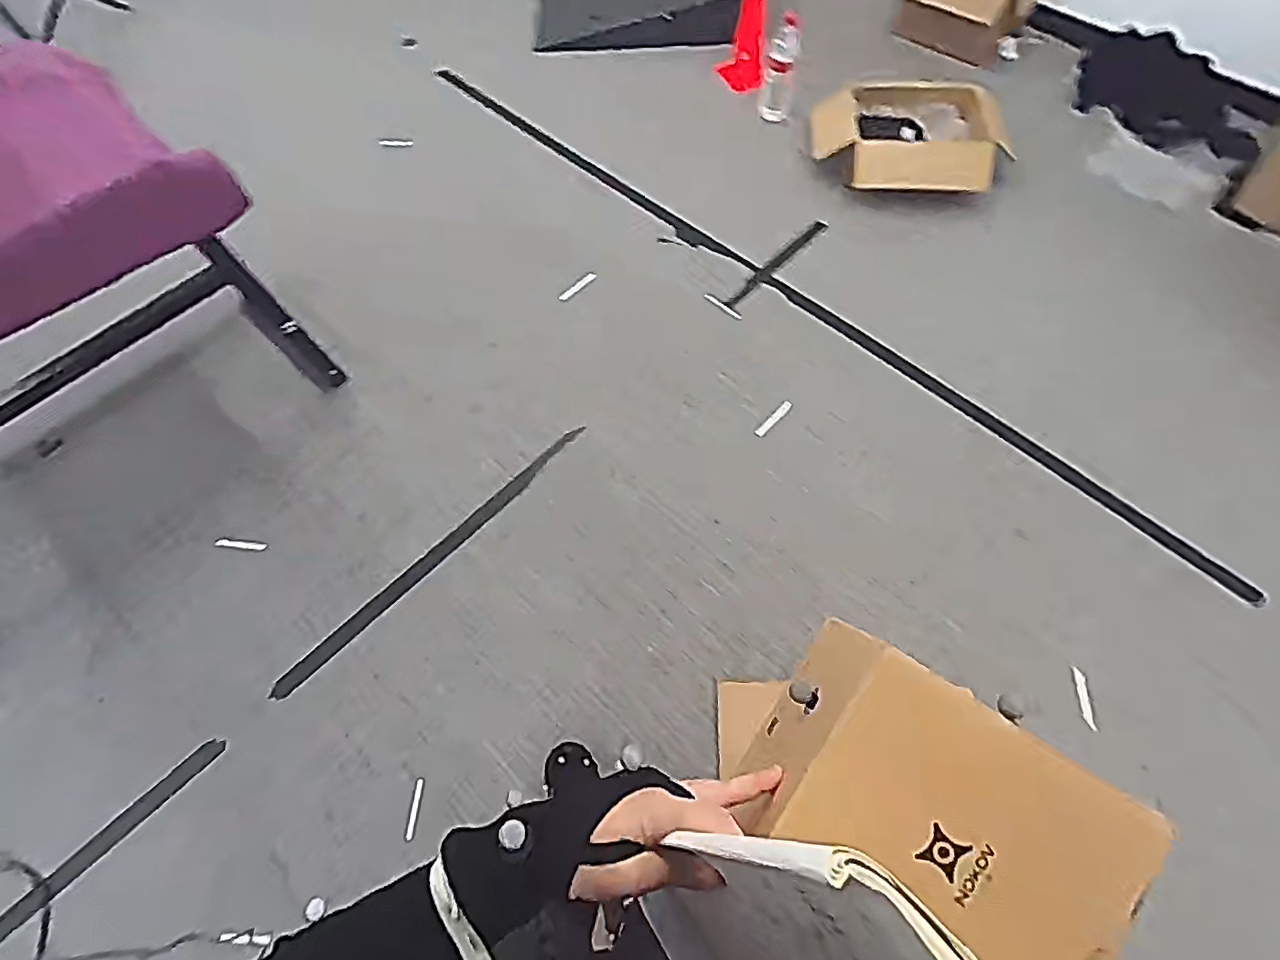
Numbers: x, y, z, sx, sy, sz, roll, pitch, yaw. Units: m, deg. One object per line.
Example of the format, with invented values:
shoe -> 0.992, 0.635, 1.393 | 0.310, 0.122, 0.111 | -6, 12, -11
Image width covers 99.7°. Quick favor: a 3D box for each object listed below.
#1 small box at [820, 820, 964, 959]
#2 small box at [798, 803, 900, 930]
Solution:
small box -> 0.422, 0.705, 0.938 | 0.168, 0.176, 0.179 | -1, 68, 2
small box -> 0.426, 0.768, 1.090 | 0.168, 0.176, 0.179 | -1, 69, 1
